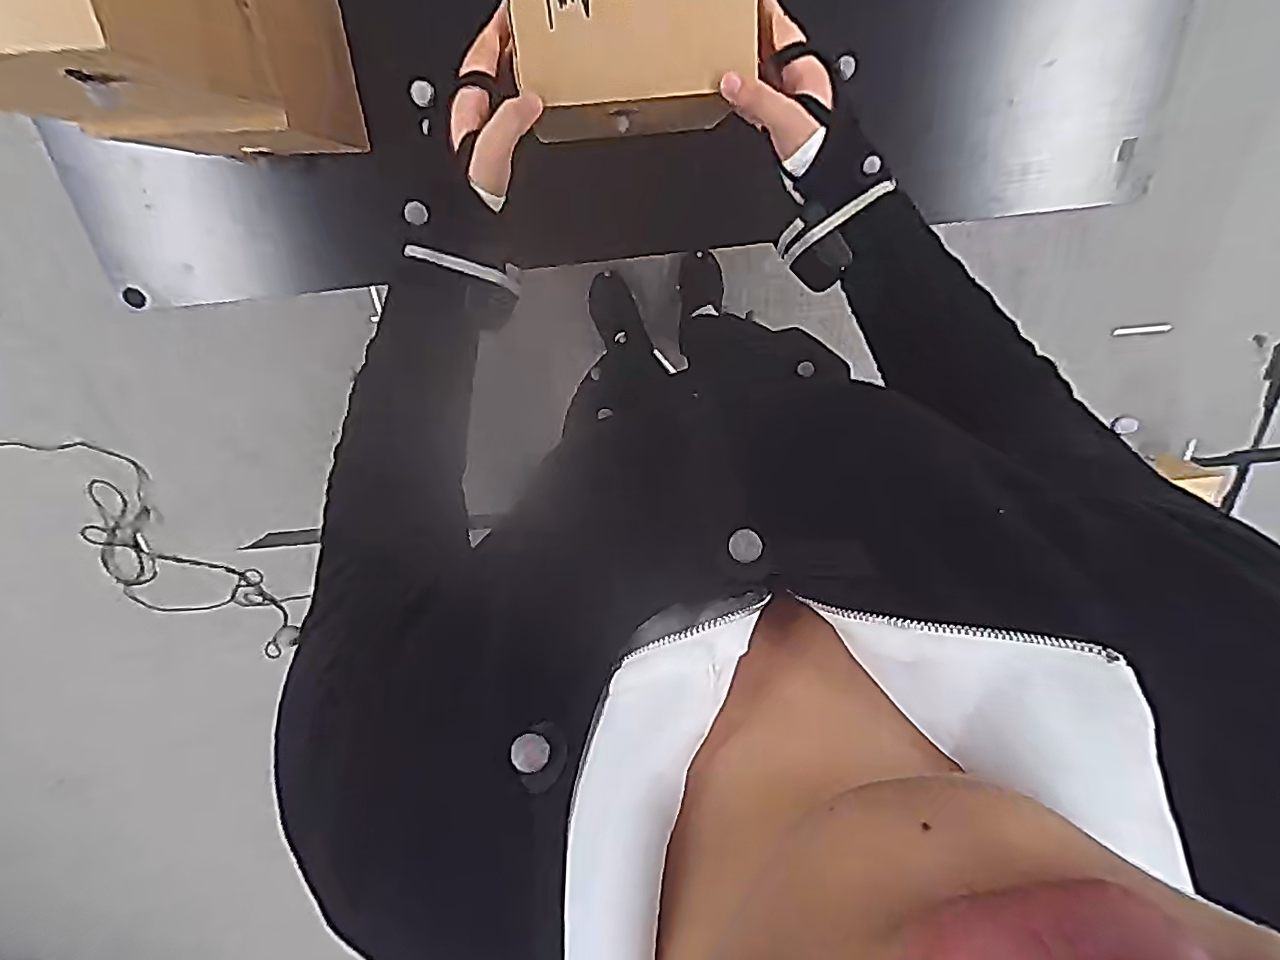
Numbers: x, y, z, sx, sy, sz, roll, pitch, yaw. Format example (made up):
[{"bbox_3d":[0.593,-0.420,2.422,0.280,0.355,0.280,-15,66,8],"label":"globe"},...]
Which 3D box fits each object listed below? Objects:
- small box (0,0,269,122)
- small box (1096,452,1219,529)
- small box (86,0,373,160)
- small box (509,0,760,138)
[{"bbox_3d":[-0.362,-0.324,0.320,0.179,0.176,0.168,-3,115,0],"label":"small box"},{"bbox_3d":[1.497,0.027,1.580,0.179,0.176,0.168,-4,116,0],"label":"small box"},{"bbox_3d":[-0.364,-0.390,0.472,0.168,0.176,0.179,-3,117,-1],"label":"small box"},{"bbox_3d":[-0.010,-0.387,0.435,0.179,0.176,0.168,-6,115,-2],"label":"small box"}]
